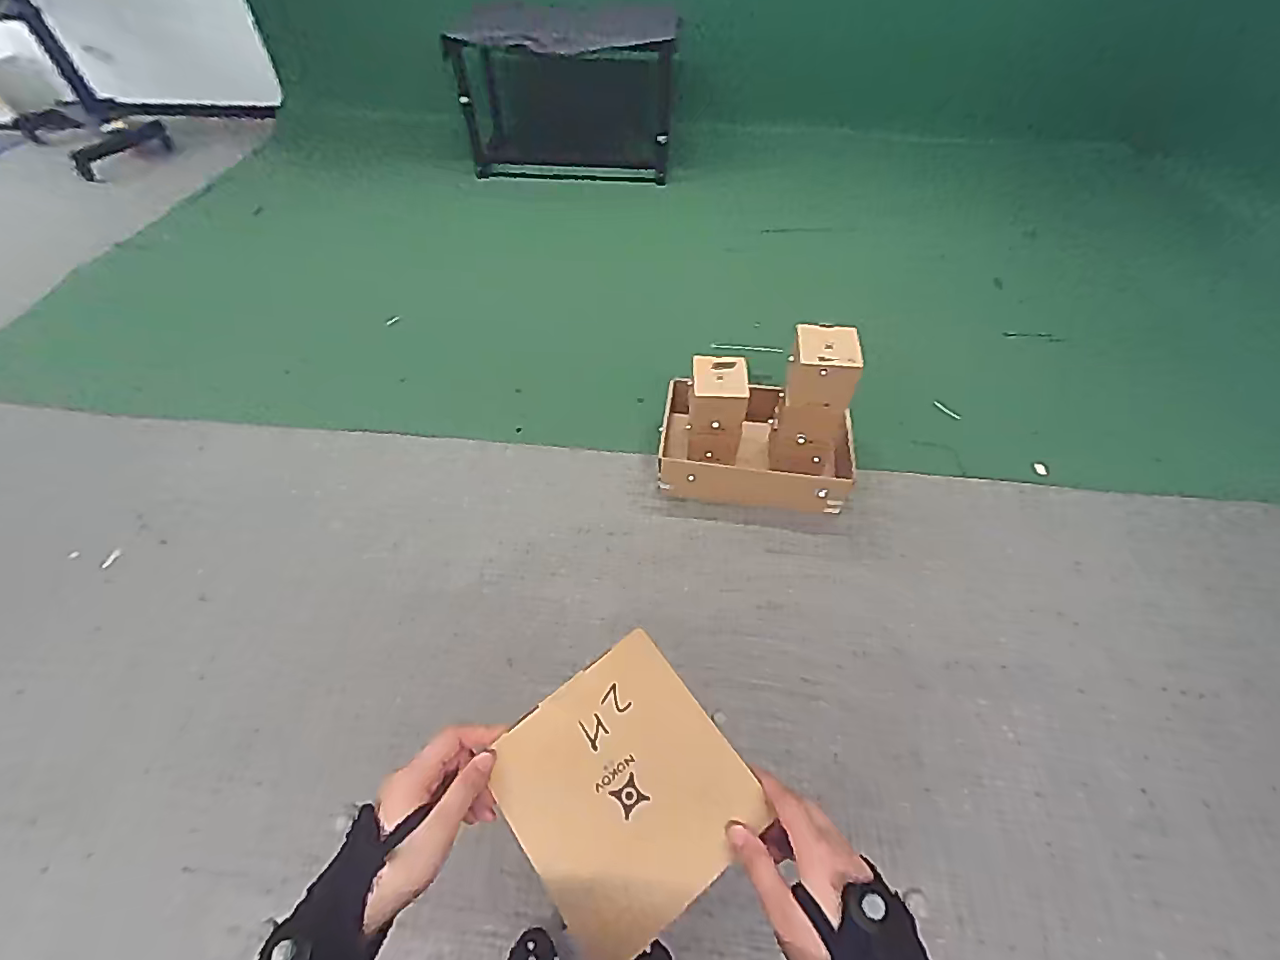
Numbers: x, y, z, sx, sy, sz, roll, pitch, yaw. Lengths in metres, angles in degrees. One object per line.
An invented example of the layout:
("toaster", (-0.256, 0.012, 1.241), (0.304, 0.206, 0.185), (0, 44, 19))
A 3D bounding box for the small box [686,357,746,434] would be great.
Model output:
("small box", (0.235, -0.268, 1.719), (0.168, 0.176, 0.179), (1, 54, 0))

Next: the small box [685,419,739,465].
("small box", (0.243, -0.175, 1.857), (0.168, 0.176, 0.179), (3, 53, 2))

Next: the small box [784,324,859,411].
("small box", (0.513, -0.323, 1.554), (0.168, 0.176, 0.179), (4, 51, 5))

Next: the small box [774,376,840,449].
("small box", (0.515, -0.223, 1.684), (0.168, 0.176, 0.179), (7, 54, 7))
